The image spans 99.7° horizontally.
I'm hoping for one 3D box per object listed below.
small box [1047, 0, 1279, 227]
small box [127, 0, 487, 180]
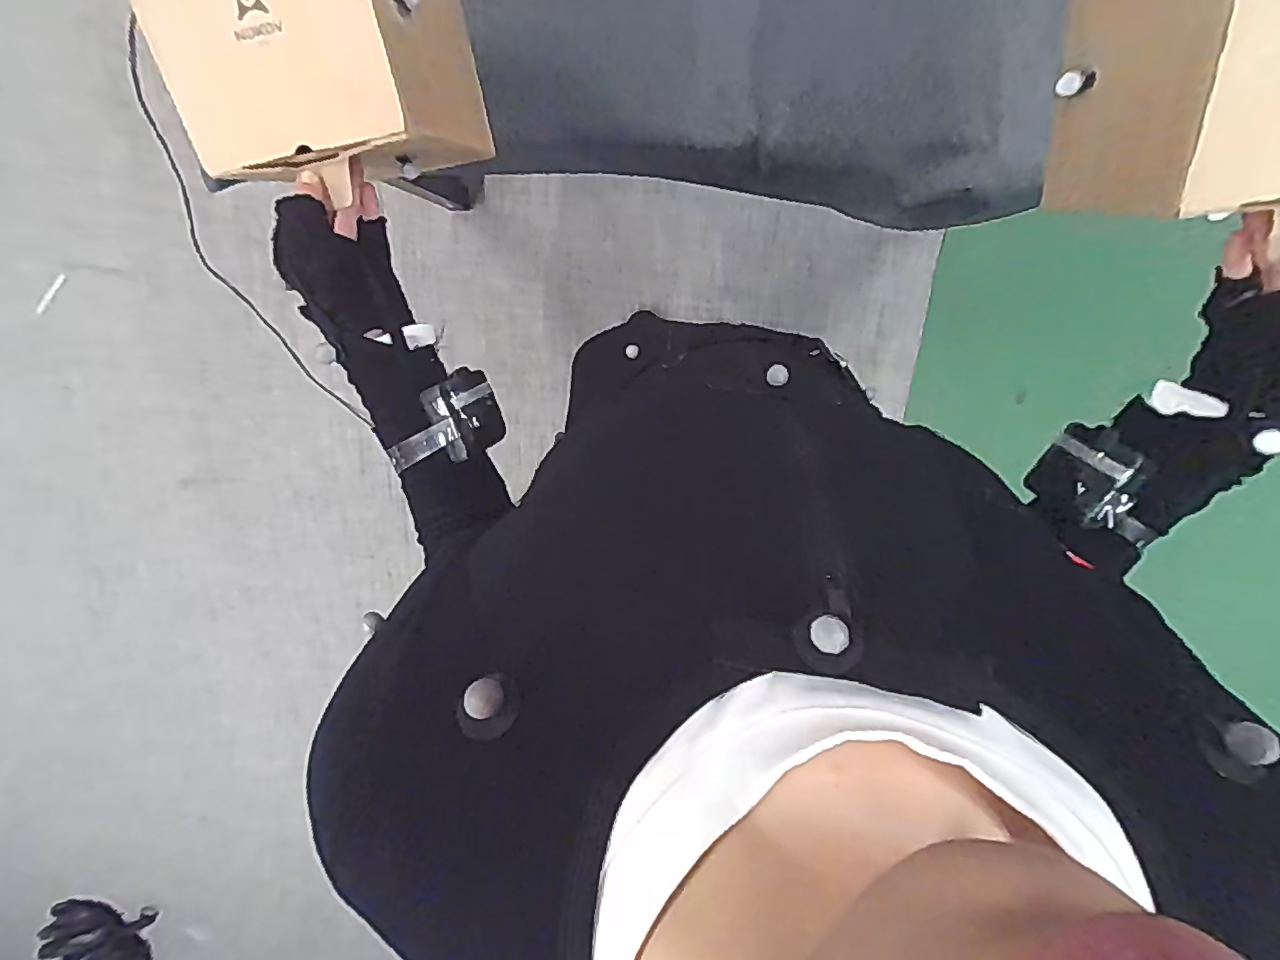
[{"bbox_3d":[0.392,-0.268,0.334,0.168,0.176,0.179,-3,117,11],"label":"small box"},{"bbox_3d":[-0.237,-0.338,0.411,0.168,0.176,0.179,-6,115,10],"label":"small box"}]
